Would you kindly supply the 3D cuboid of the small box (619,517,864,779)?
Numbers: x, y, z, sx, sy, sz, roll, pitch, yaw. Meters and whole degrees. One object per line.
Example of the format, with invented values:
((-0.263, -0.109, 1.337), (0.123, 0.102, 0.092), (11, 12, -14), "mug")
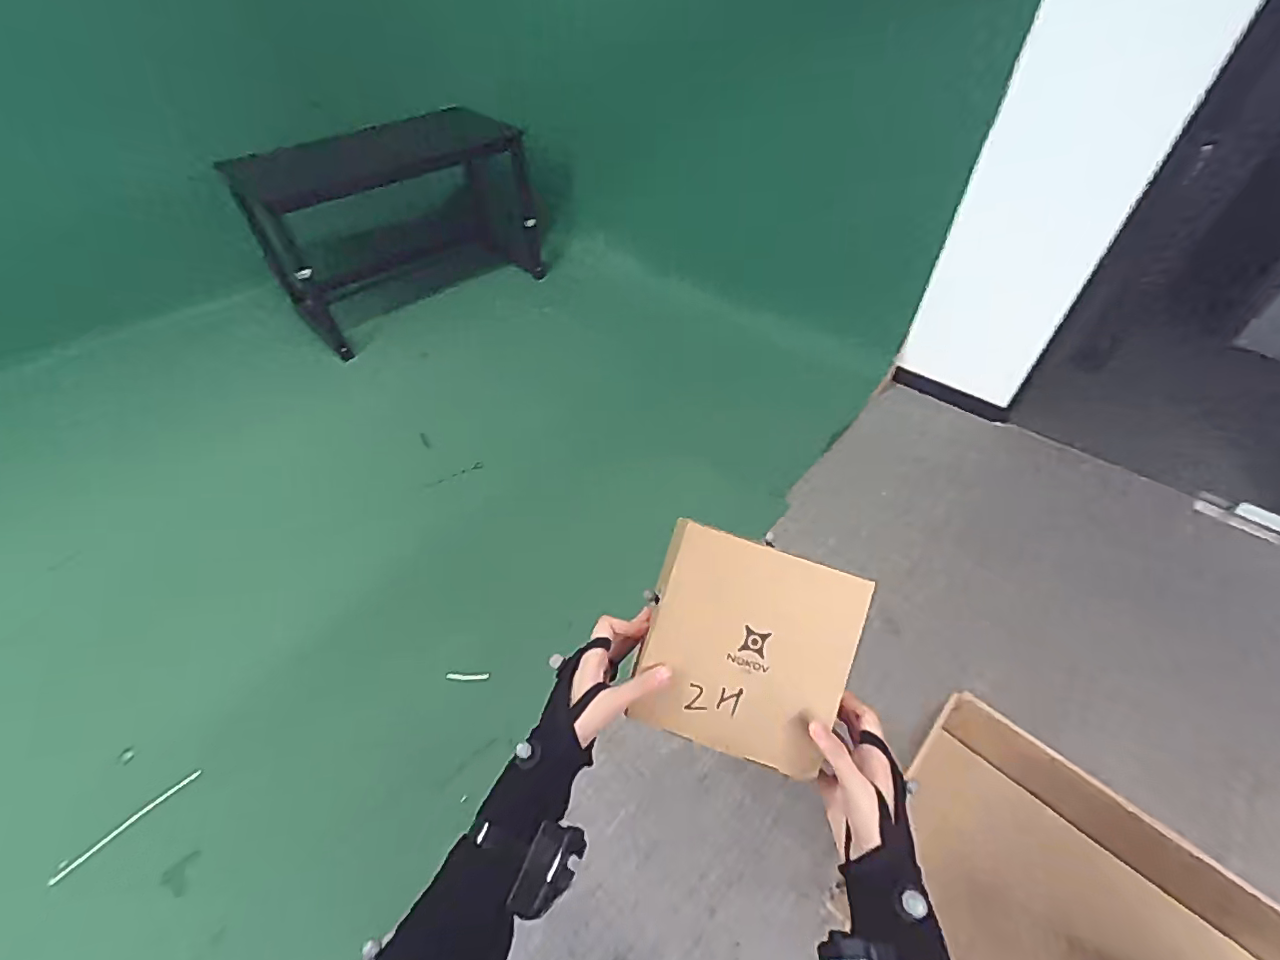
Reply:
((0.086, 0.143, 0.529), (0.168, 0.176, 0.179), (19, 88, 3), "small box")
